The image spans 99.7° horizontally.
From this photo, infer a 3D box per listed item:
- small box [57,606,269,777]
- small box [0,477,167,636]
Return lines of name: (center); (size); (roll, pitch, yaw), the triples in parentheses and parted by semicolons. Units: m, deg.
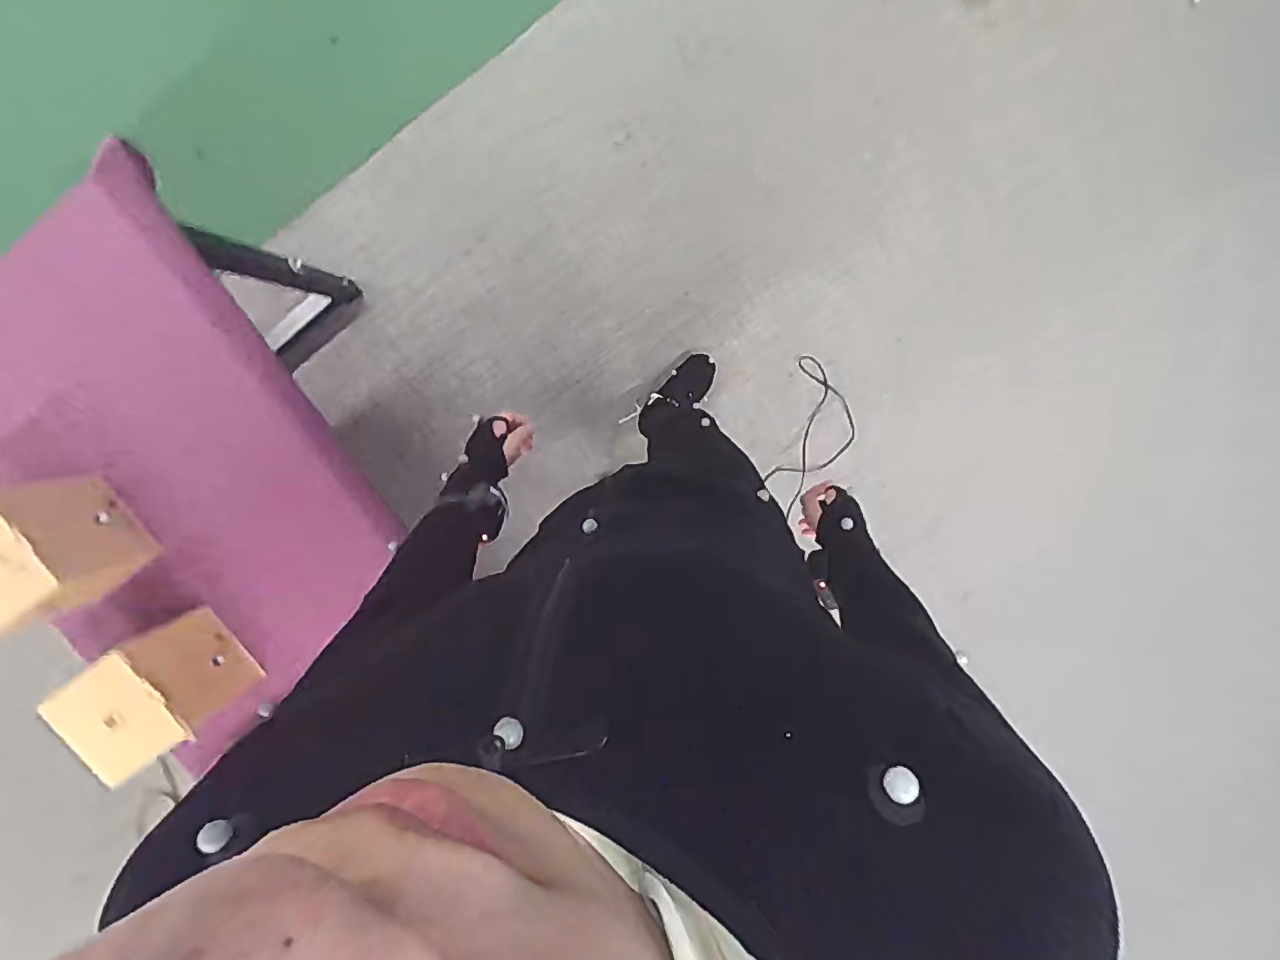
small box: (-0.793, 0.349, 0.919); (0.179, 0.176, 0.168); (-35, 96, 7)
small box: (-0.949, 0.116, 0.884); (0.179, 0.176, 0.168); (-34, 97, 8)
